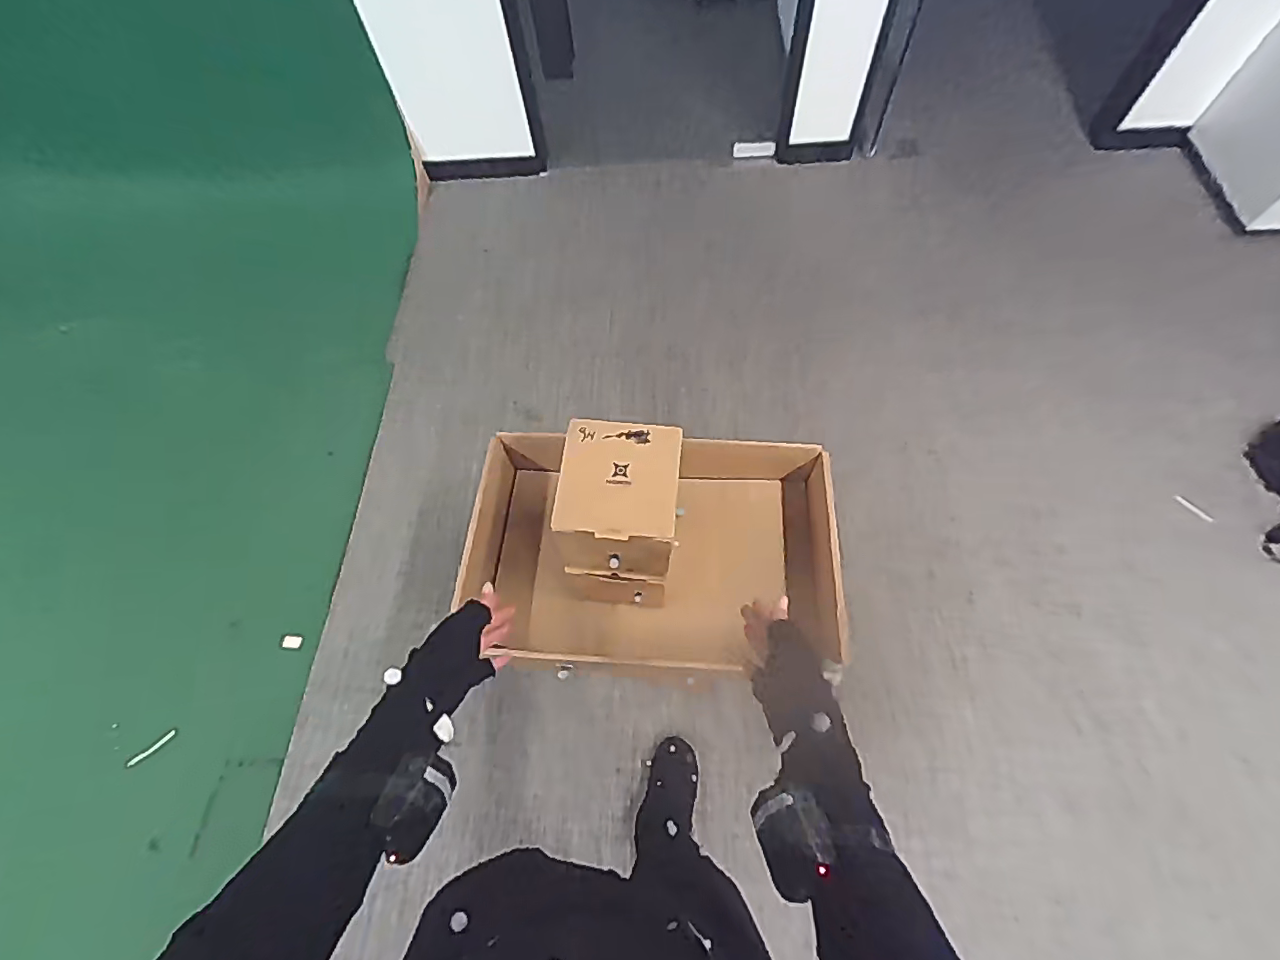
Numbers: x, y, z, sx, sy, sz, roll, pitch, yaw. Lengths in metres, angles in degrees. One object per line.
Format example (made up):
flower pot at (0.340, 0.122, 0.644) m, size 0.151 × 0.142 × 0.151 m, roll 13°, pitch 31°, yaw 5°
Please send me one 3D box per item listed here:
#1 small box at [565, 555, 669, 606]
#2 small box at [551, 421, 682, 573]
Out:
small box at (-0.028, 0.115, 0.961) m, size 0.168 × 0.176 × 0.179 m, roll 6°, pitch 62°, yaw 3°
small box at (-0.028, 0.033, 0.819) m, size 0.168 × 0.176 × 0.179 m, roll 5°, pitch 65°, yaw 3°
